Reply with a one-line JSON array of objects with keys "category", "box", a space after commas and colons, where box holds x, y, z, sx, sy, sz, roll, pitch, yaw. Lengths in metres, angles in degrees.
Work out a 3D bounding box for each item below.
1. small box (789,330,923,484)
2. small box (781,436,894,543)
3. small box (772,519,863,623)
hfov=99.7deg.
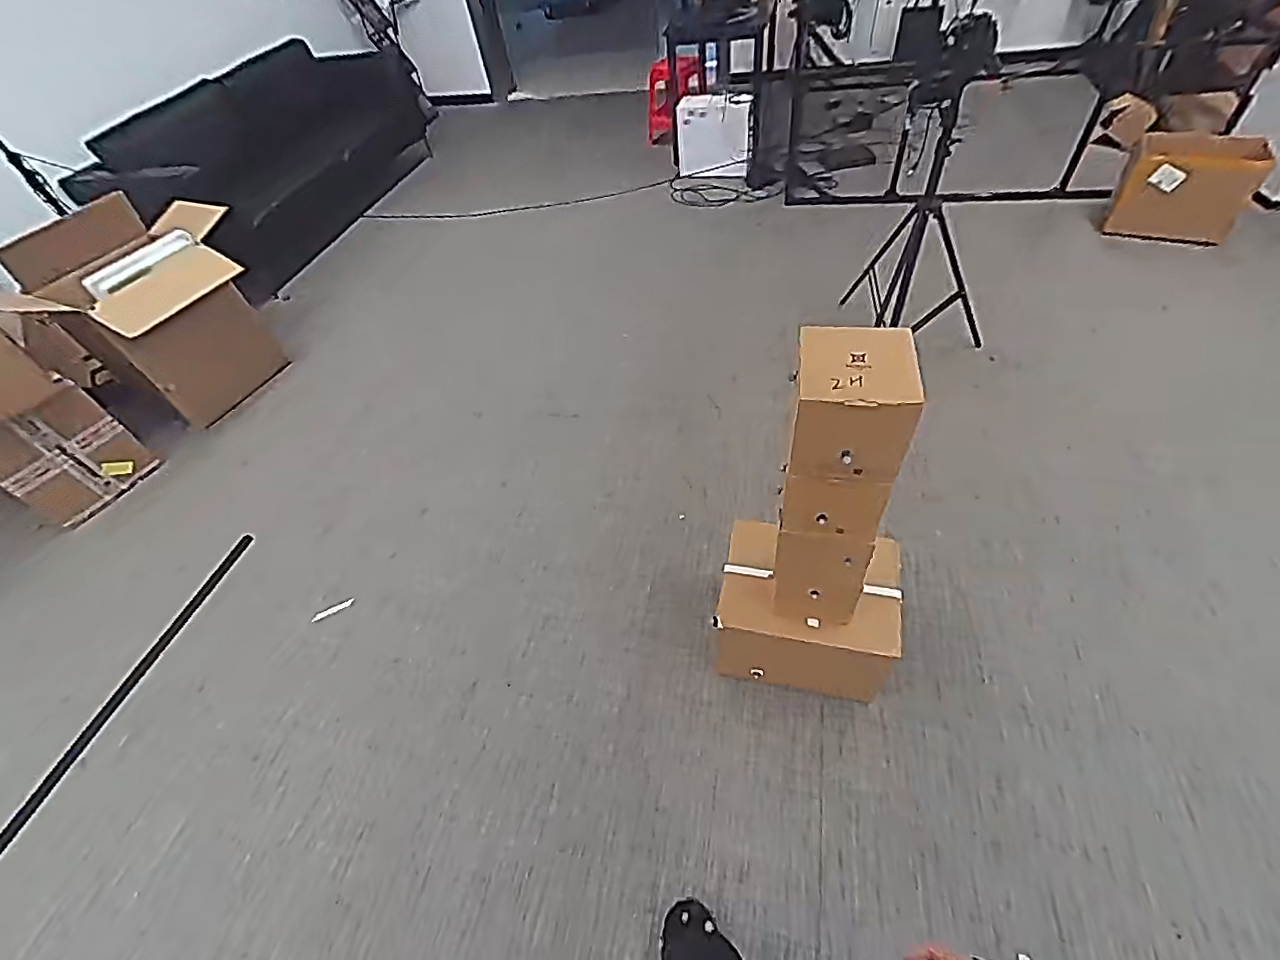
[{"category": "small box", "box": [0.330, -0.117, 0.859, 0.168, 0.176, 0.179, 4, 52, 13]}, {"category": "small box", "box": [0.350, -0.010, 0.983, 0.168, 0.176, 0.179, 5, 53, 13]}, {"category": "small box", "box": [0.395, 0.207, 1.224, 0.179, 0.176, 0.168, 5, 52, 12]}]
